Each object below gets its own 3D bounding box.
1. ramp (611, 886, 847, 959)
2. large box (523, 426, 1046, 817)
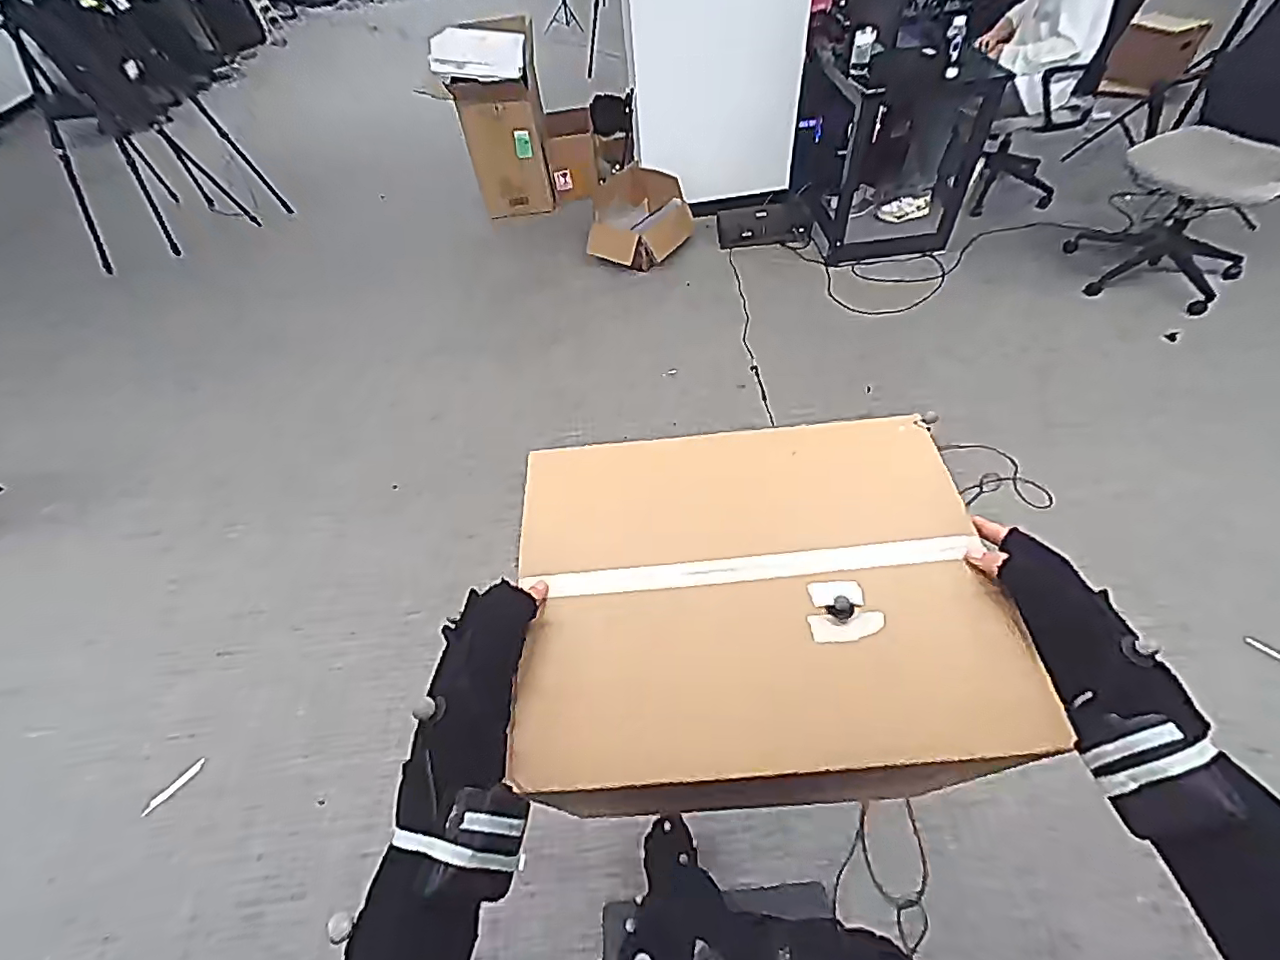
[{"bbox_3d":[0.205,1.252,0.822,0.509,0.206,0.991,-9,51,1],"label":"ramp"},{"bbox_3d":[0.106,0.172,0.610,0.408,0.320,0.320,-5,55,2],"label":"large box"}]
